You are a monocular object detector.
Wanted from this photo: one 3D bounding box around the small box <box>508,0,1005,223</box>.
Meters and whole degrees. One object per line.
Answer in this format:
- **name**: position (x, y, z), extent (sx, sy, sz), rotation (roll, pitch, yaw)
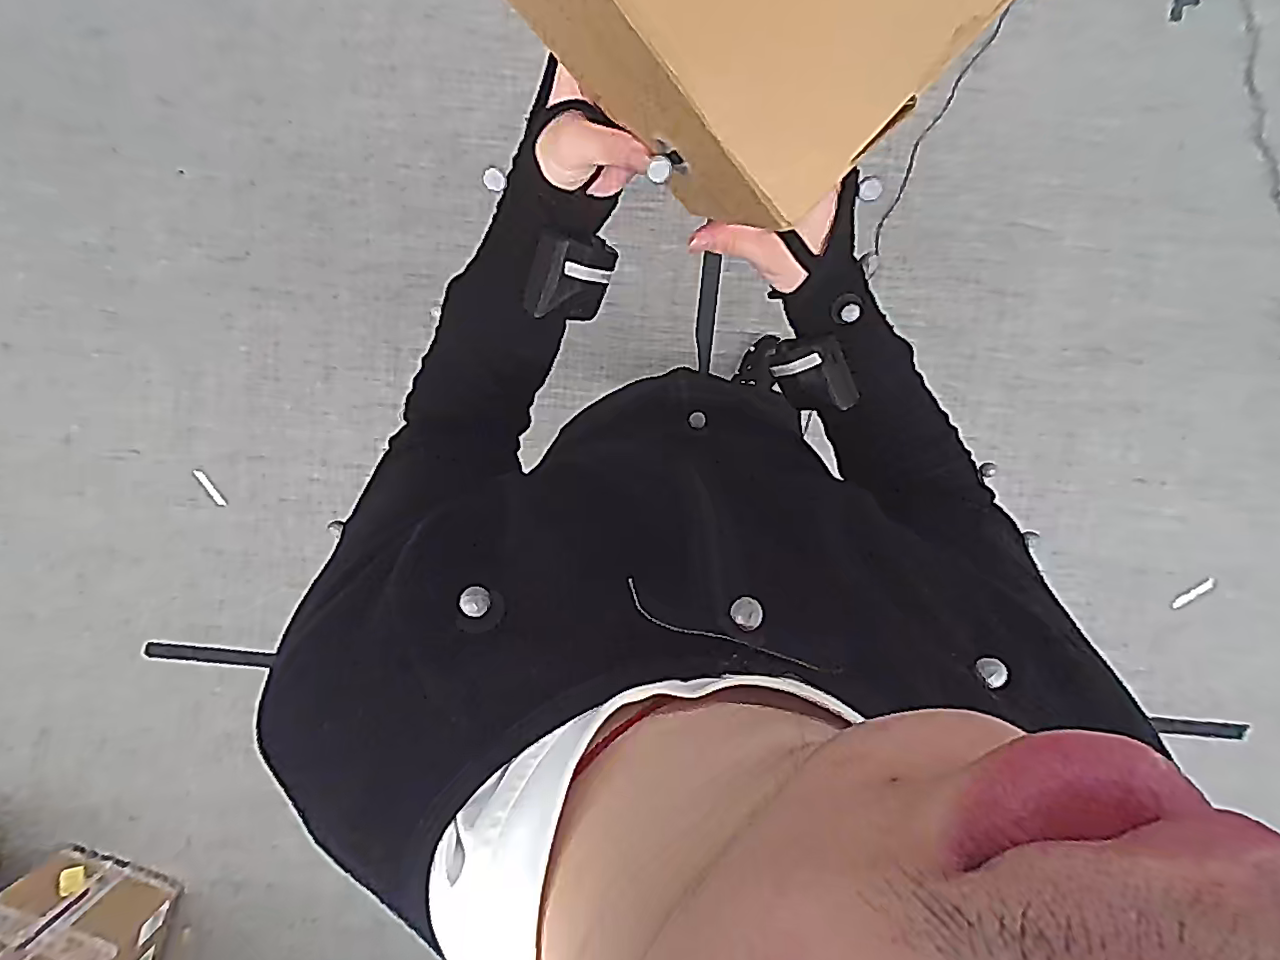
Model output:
- **small box**: position (0.043, -0.243, 0.232), extent (0.179, 0.176, 0.168), rotation (37, 105, -25)
